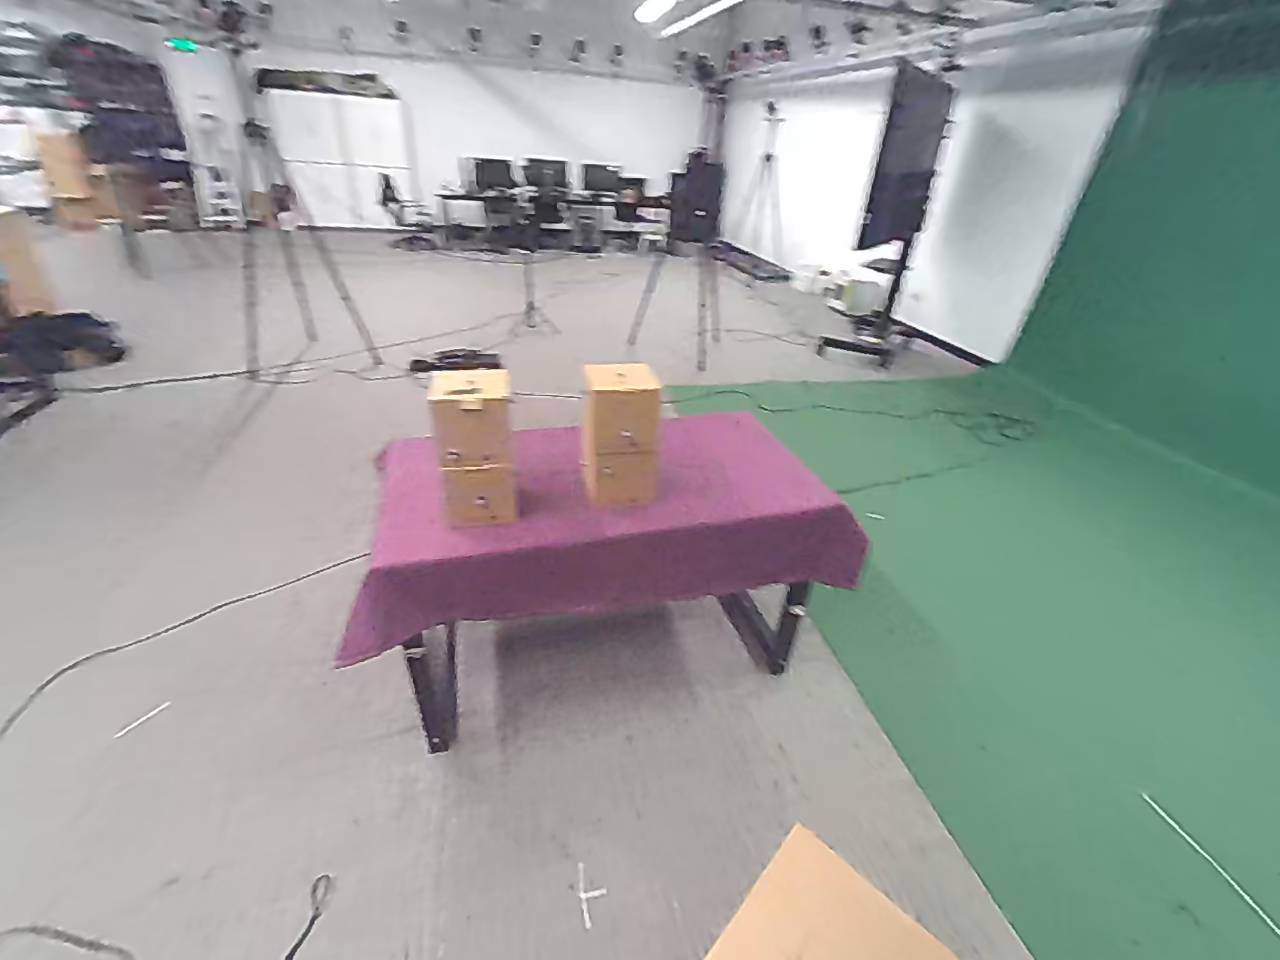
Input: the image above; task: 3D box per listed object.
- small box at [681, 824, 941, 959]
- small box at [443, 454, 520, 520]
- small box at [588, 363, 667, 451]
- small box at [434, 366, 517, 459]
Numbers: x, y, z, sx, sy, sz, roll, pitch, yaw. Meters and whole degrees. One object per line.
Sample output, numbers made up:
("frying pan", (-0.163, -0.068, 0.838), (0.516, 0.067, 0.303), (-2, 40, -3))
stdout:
("small box", (0.121, 0.399, 0.377), (0.168, 0.176, 0.179), (-33, 44, -32))
("small box", (-0.389, -0.012, 1.341), (0.168, 0.176, 0.179), (-3, 34, -14))
("small box", (-0.038, -0.184, 1.351), (0.168, 0.176, 0.179), (-3, 33, -12))
("small box", (-0.375, -0.156, 1.260), (0.168, 0.176, 0.179), (-3, 32, -13))
